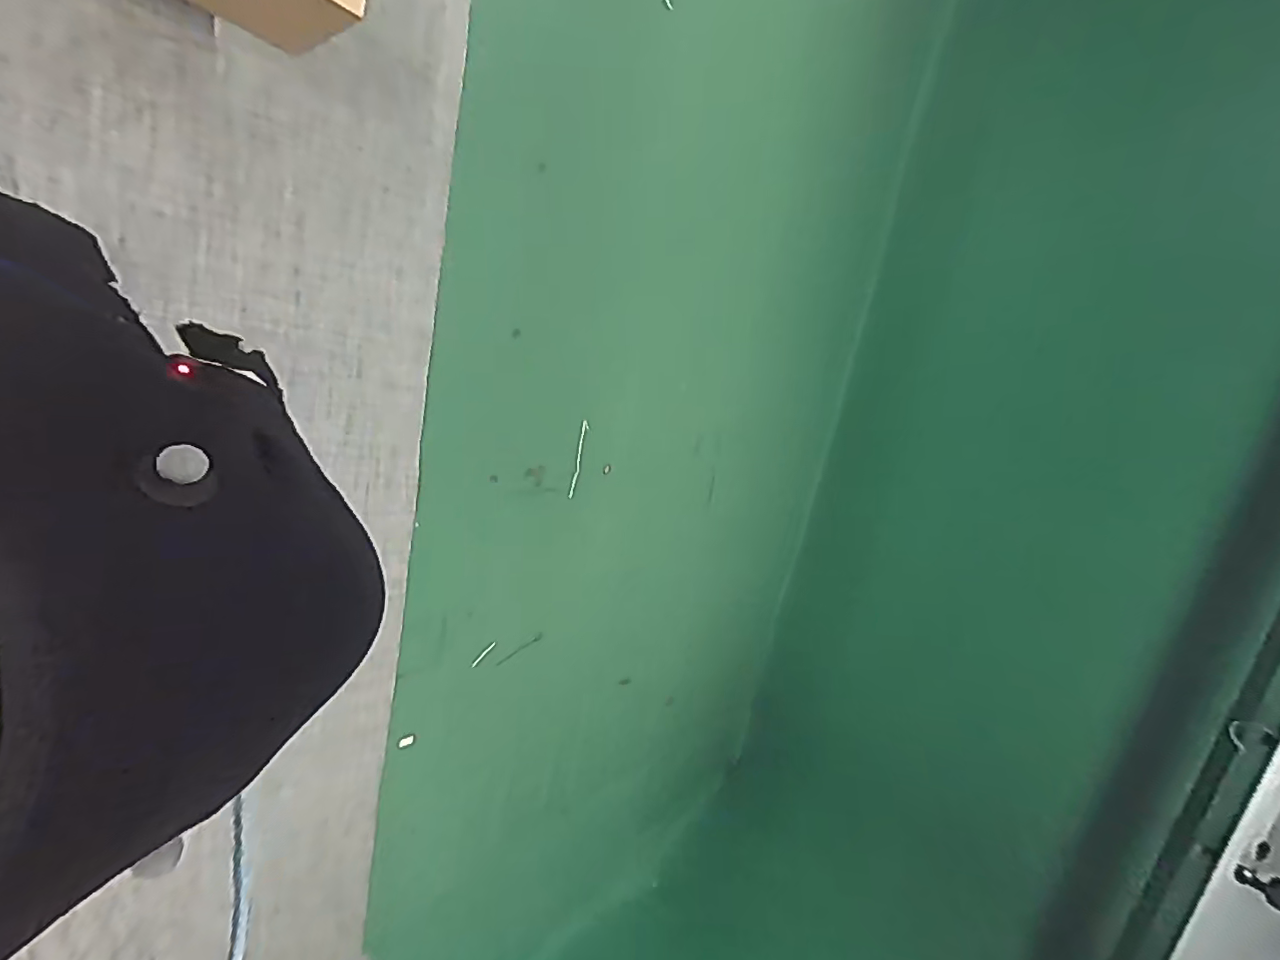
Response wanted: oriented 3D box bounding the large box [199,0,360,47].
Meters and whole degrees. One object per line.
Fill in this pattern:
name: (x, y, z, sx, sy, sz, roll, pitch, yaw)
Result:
large box: (-0.649, -0.919, 0.767, 0.408, 0.320, 0.320, -1, 107, -50)
